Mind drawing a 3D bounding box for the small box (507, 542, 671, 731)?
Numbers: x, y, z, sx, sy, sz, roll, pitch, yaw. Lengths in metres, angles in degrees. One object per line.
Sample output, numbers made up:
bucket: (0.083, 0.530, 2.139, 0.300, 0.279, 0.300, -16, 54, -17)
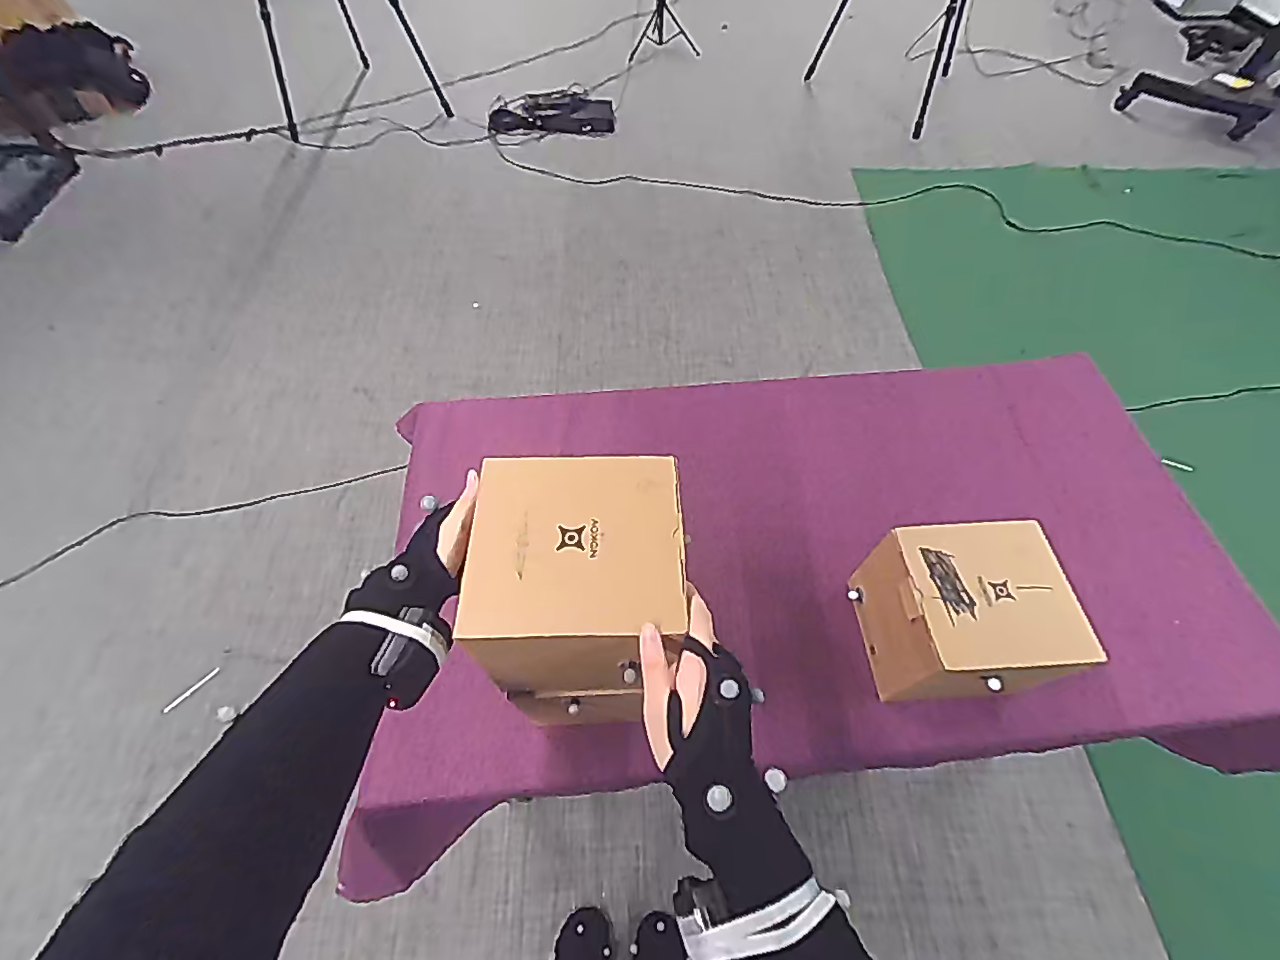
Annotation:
small box: (-0.053, 0.190, 0.646, 0.168, 0.176, 0.179, -2, 57, -1)

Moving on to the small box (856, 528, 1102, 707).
small box: (0.382, 0.172, 0.657, 0.179, 0.176, 0.168, -2, 58, -2)
